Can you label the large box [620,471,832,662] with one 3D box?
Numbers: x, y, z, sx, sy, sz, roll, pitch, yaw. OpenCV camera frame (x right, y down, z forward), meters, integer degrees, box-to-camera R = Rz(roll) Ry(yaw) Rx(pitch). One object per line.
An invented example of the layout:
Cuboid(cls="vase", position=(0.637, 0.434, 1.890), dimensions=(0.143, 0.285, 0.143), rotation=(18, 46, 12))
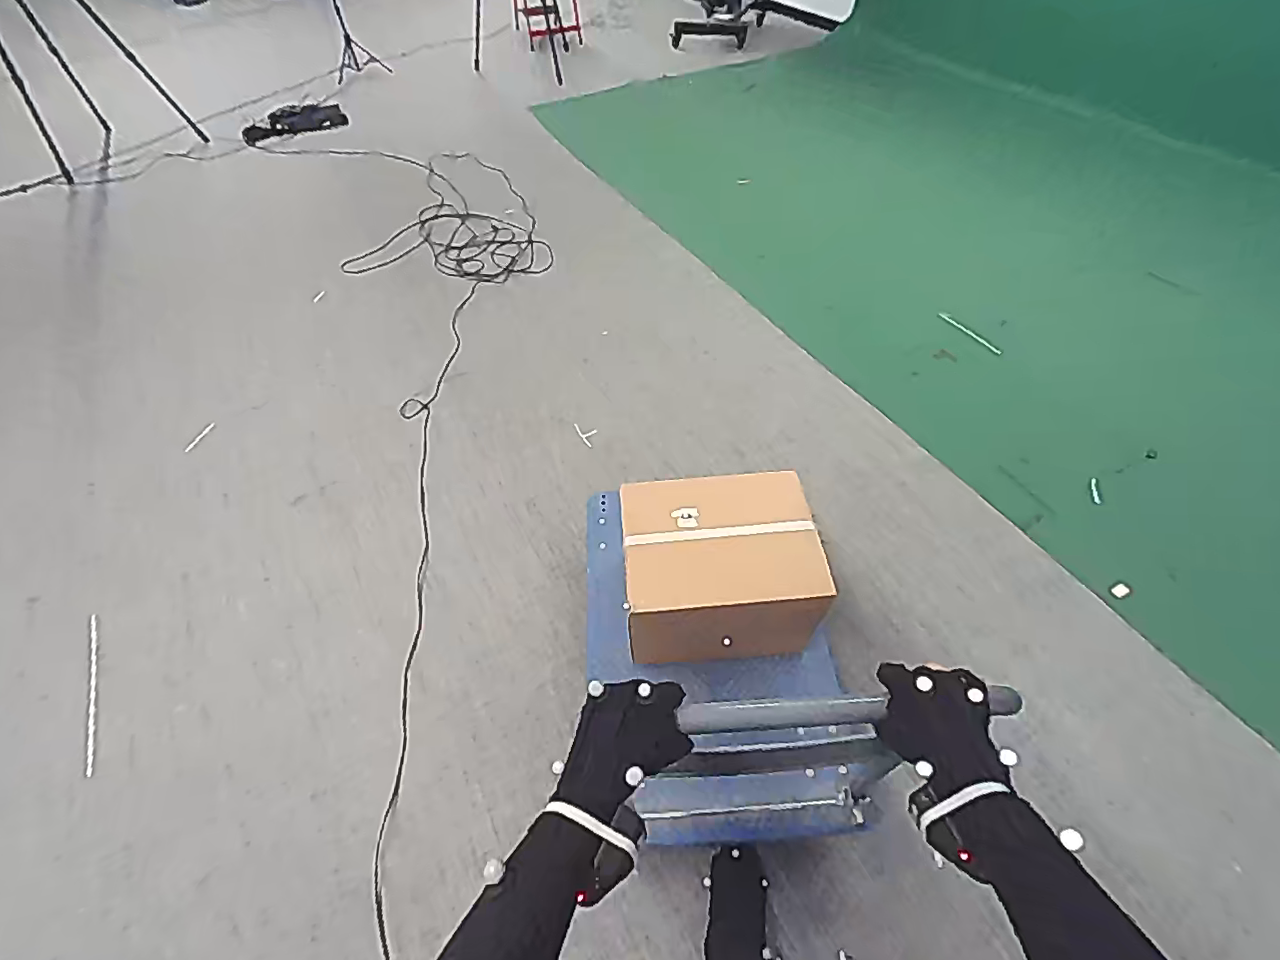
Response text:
Cuboid(cls="large box", position=(0.173, 0.209, 1.258), dimensions=(0.408, 0.320, 0.320), rotation=(-5, 52, -1))
